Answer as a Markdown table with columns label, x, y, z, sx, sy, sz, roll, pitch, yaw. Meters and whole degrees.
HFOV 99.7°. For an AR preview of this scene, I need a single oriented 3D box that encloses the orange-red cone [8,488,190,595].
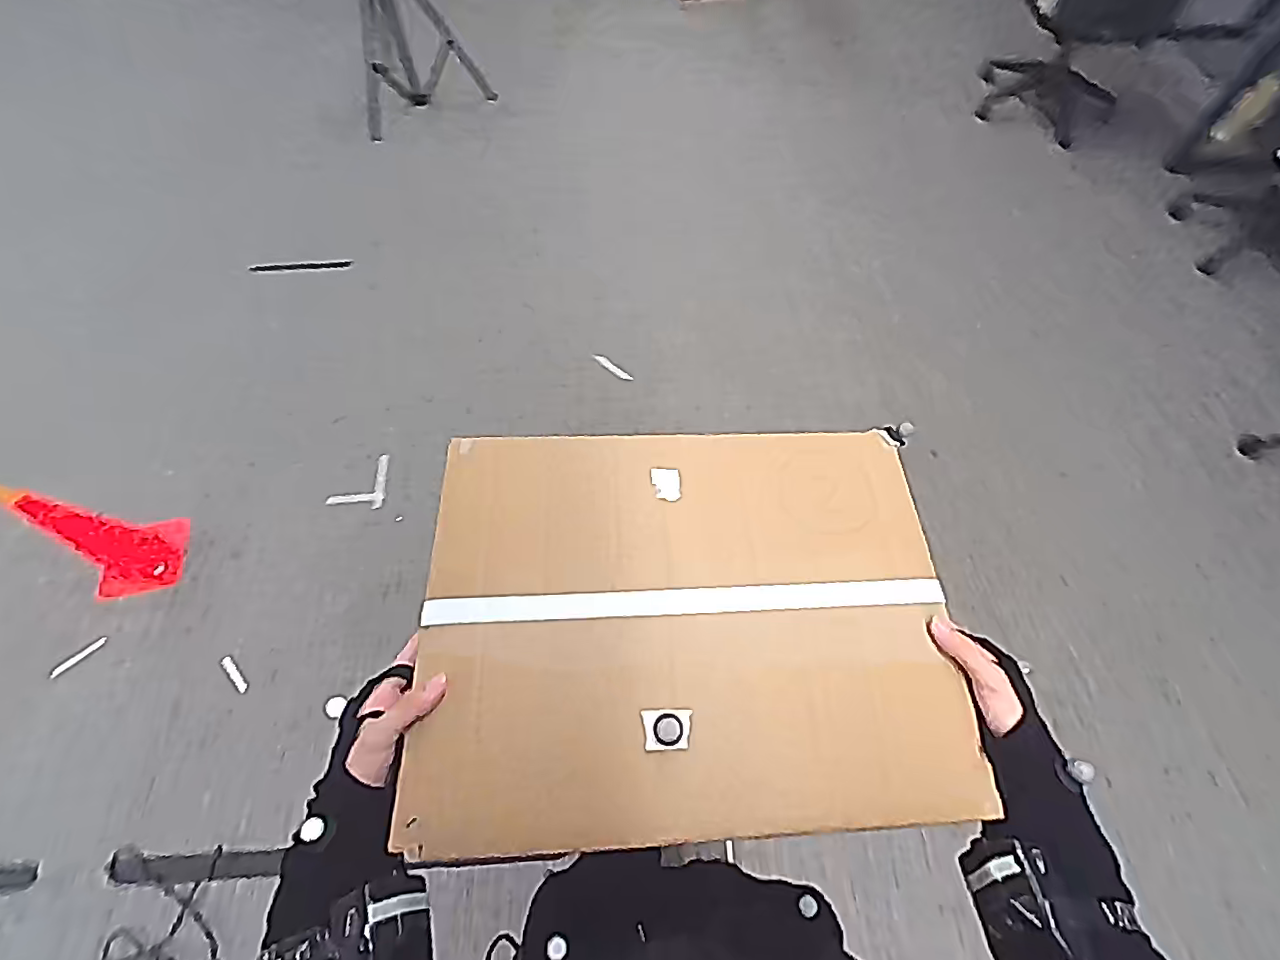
| label | x | y | z | sx | sy | sz | roll | pitch | yaw |
| --- | --- | --- | --- | --- | --- | --- | --- | --- | --- |
| orange-red cone | -1.317 | 0.118 | 1.291 | 0.198 | 0.360 | 0.199 | -10 | 60 | -7 |
